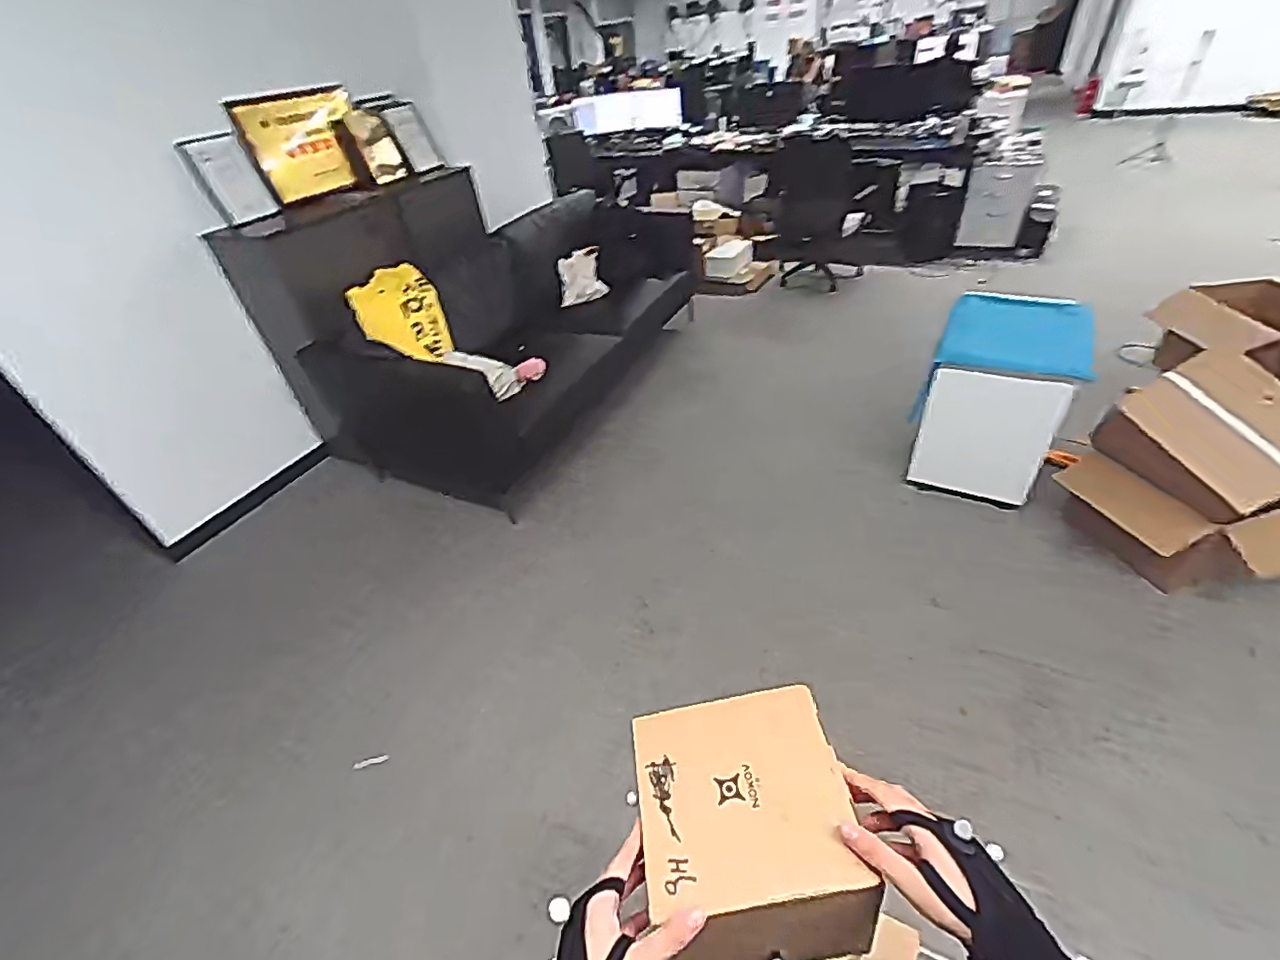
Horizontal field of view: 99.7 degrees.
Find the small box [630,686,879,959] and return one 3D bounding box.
[{"bbox_3d":[0.093,0.322,0.497,0.179,0.176,0.168,-11,32,2],"label":"small box"}]
